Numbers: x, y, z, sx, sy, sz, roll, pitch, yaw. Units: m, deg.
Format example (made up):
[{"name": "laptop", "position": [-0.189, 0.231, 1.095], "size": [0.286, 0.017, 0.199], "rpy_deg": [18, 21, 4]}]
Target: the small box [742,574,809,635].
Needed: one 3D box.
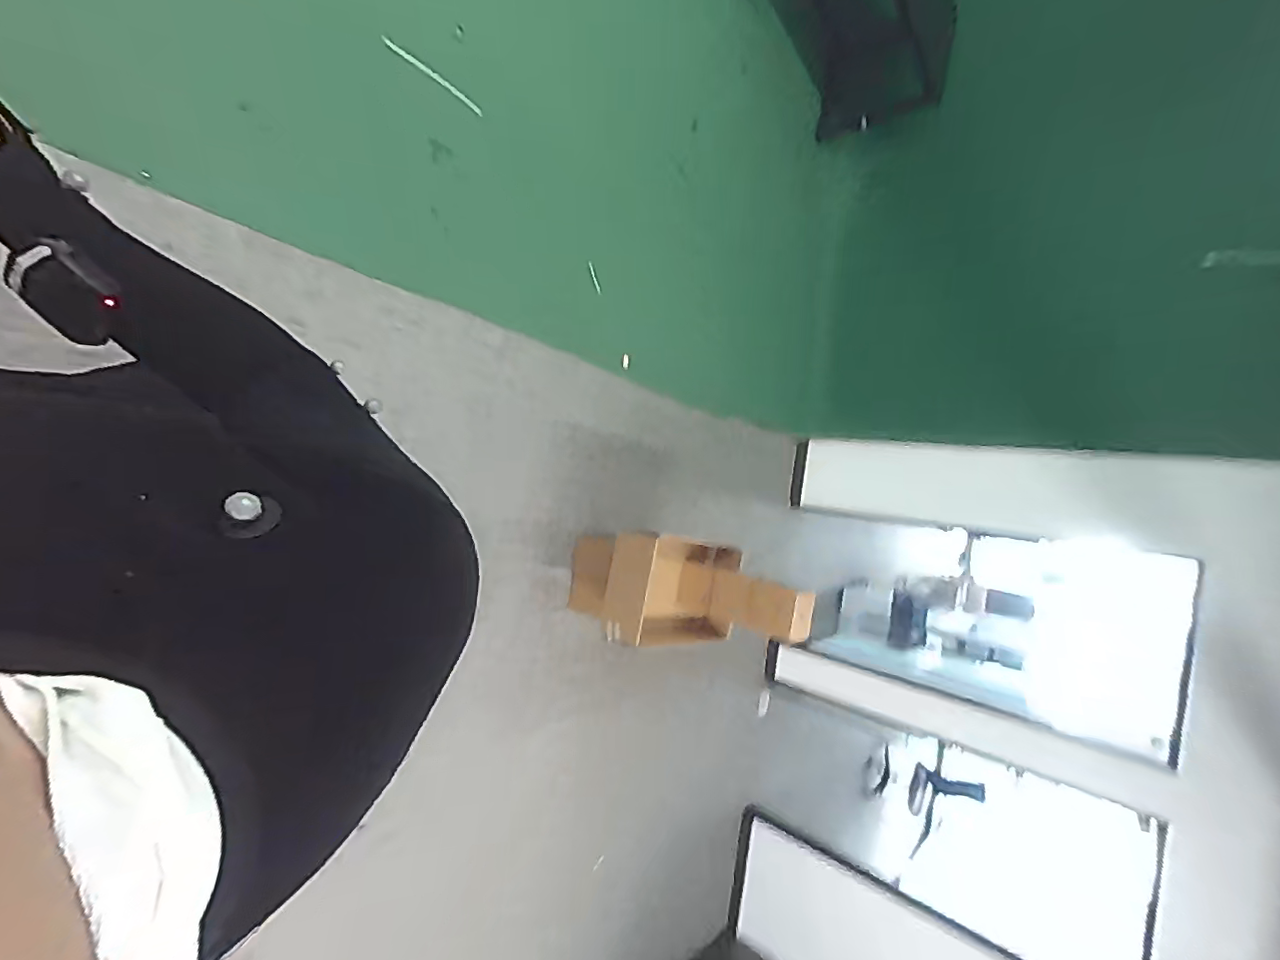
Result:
[{"name": "small box", "position": [0.490, 0.450, 1.970], "size": [0.168, 0.176, 0.179], "rpy_deg": [13, 87, -50]}]
